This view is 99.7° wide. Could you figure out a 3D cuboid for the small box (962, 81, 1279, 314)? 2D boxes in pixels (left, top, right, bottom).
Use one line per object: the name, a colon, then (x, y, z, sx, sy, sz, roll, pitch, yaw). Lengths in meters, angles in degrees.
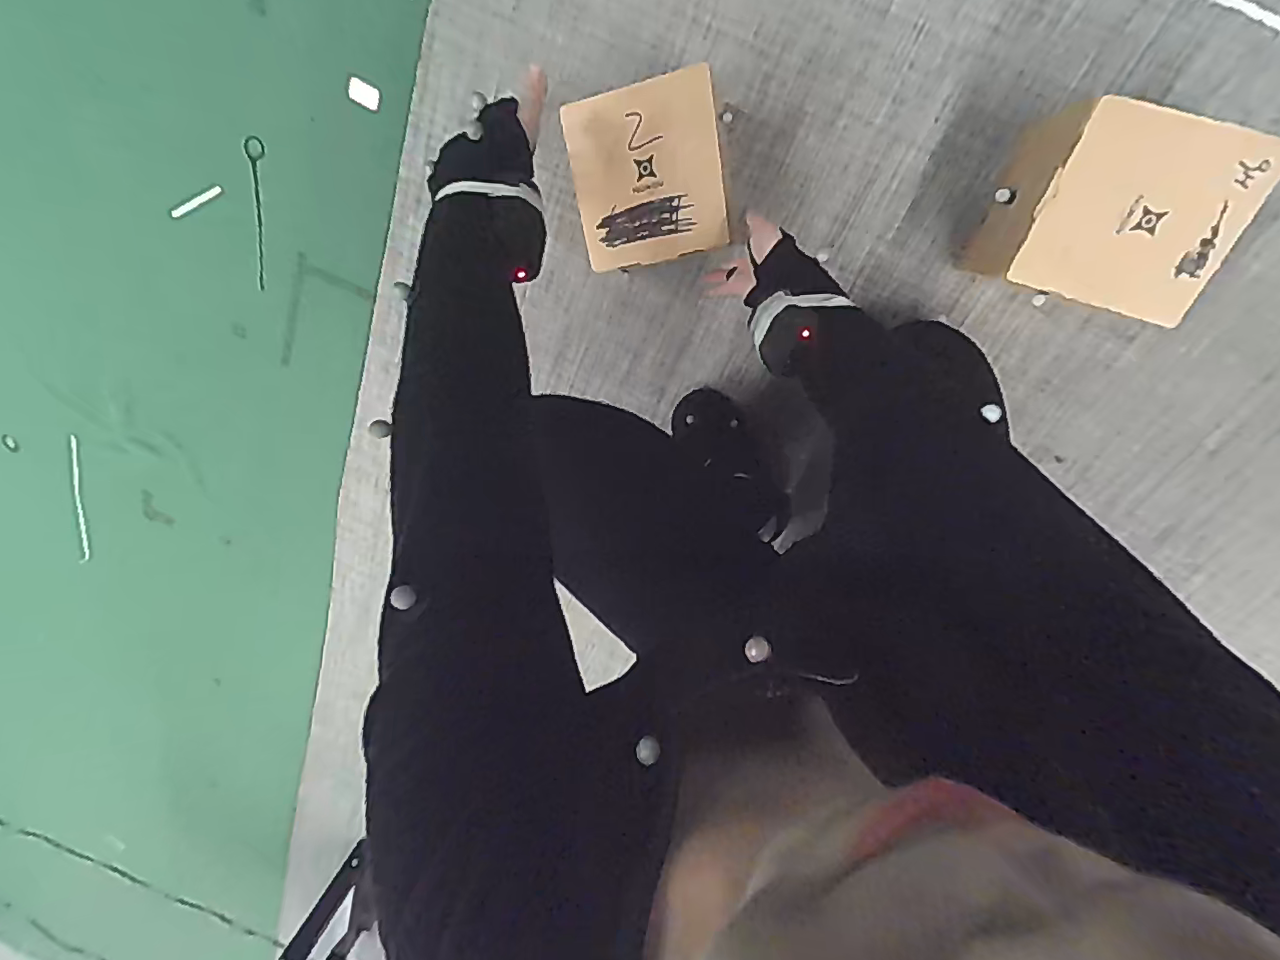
small box: (0.488, -0.292, 0.582, 0.179, 0.176, 0.168, 19, 117, 6)
